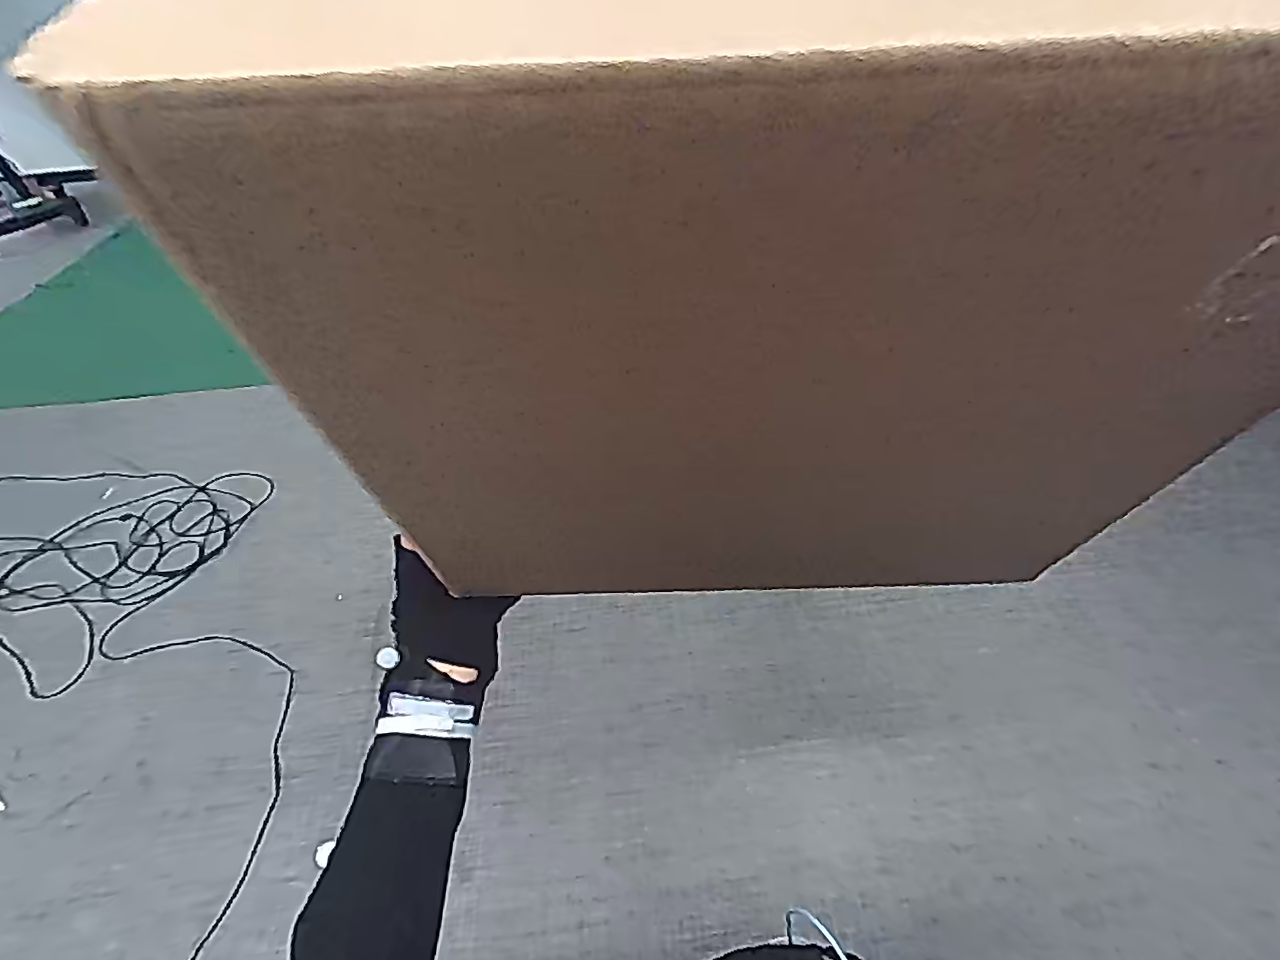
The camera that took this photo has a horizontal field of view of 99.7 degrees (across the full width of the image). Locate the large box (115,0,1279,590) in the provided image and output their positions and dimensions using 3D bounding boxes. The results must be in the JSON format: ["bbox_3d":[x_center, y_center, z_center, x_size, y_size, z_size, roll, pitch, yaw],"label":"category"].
[{"bbox_3d":[0.062,-0.137,0.340,0.408,0.320,0.320,-2,57,1],"label":"large box"}]
